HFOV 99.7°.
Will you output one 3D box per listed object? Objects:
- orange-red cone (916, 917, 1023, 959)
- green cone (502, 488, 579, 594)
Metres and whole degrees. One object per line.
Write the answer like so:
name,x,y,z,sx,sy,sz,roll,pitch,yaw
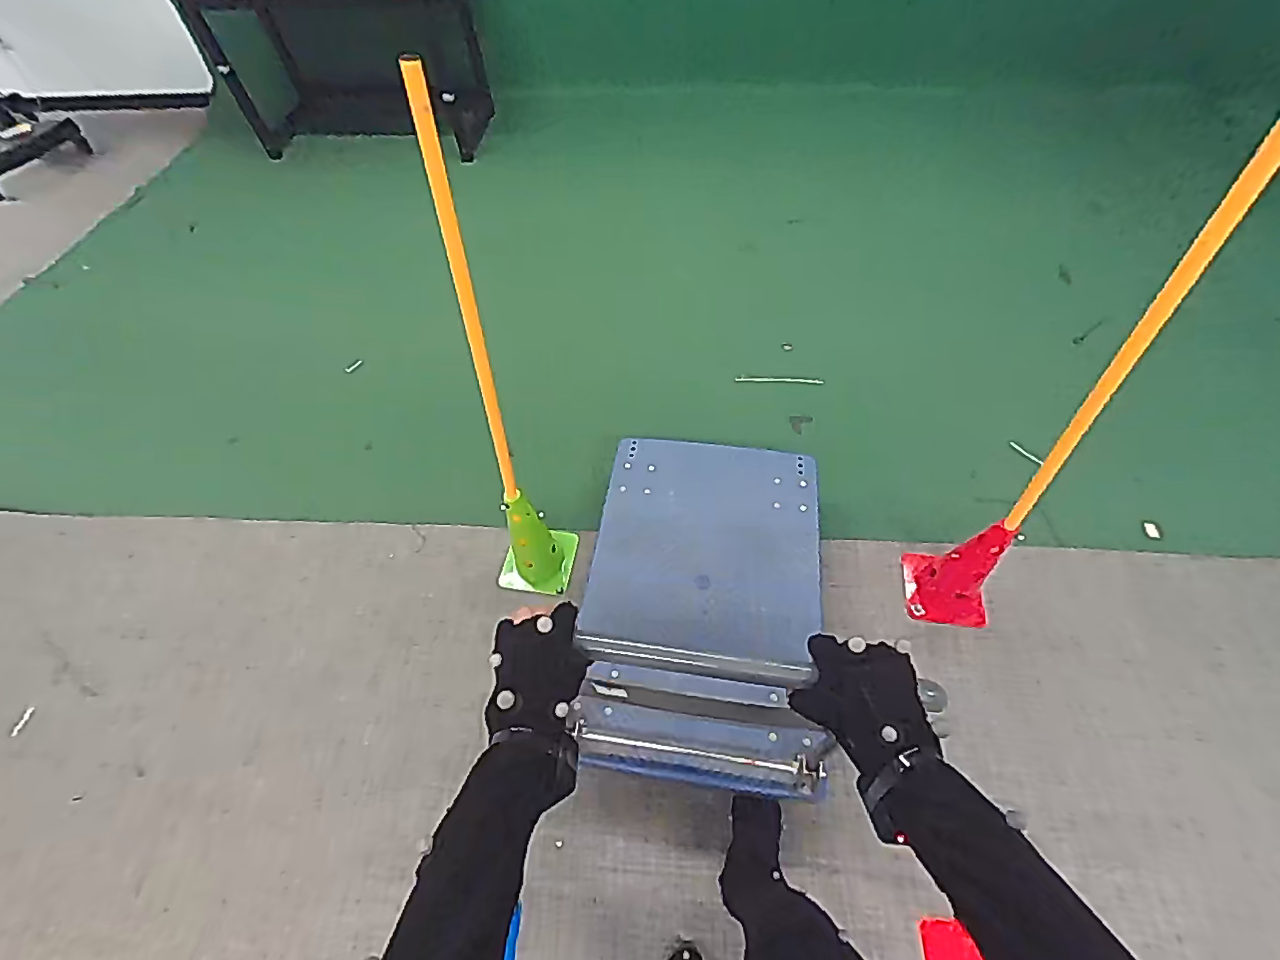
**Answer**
orange-red cone,0.641,0.878,0.905,0.199,0.360,0.198,1,55,5
green cone,-0.300,0.136,1.457,0.202,0.368,0.200,5,55,7
